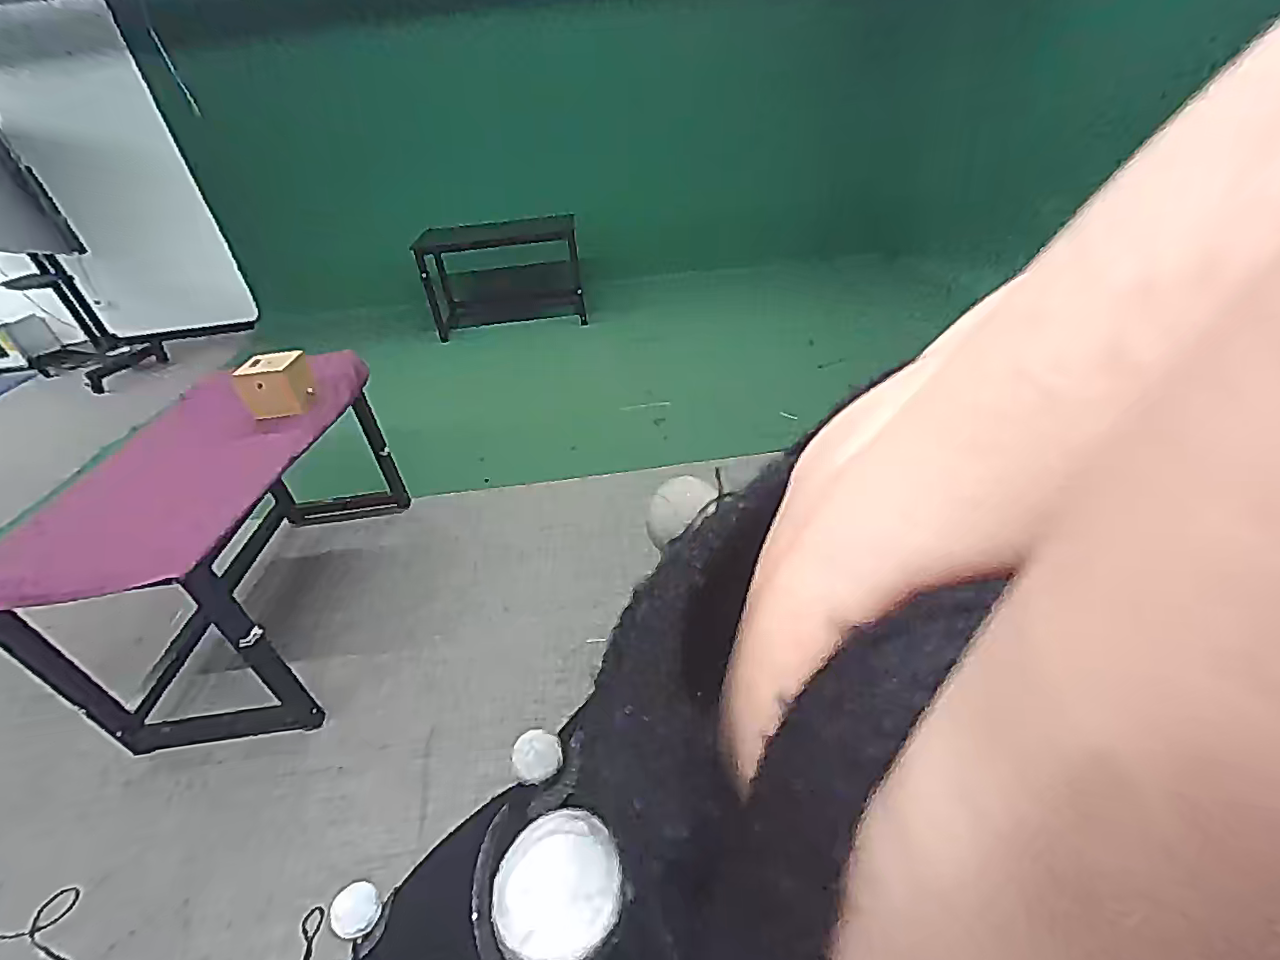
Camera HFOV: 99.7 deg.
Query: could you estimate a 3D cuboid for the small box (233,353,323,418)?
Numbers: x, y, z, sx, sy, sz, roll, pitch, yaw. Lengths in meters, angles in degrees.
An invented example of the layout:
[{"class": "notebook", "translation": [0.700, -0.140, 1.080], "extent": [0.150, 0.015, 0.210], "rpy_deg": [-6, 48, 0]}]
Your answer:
[{"class": "small box", "translation": [-1.253, -0.326, 1.885], "extent": [0.179, 0.176, 0.168], "rpy_deg": [-7, 36, -1]}]
